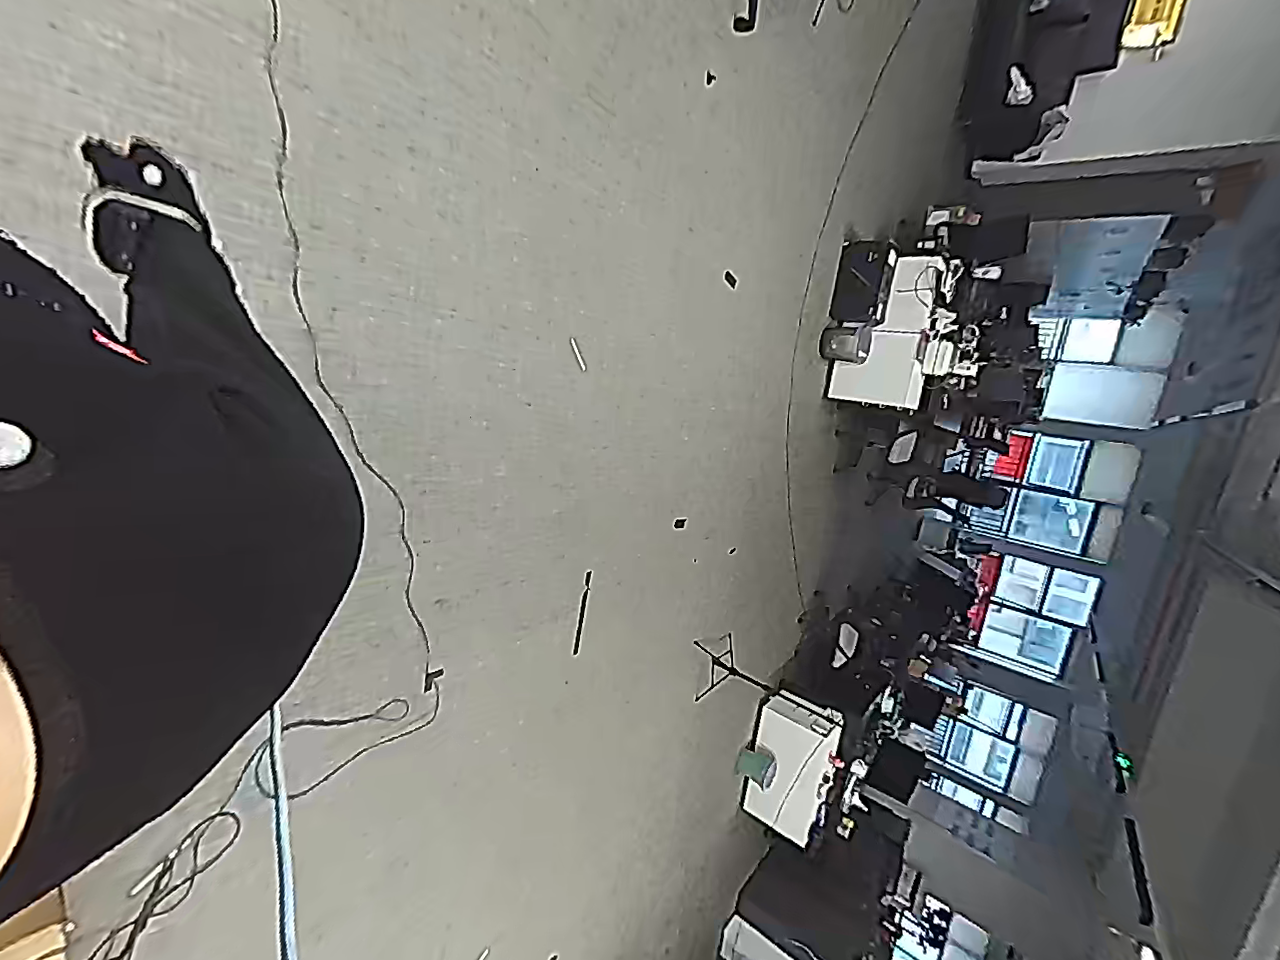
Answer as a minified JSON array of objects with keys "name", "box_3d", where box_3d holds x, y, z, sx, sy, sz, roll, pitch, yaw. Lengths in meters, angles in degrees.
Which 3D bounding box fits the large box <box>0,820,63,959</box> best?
[{"name":"large box","box_3d":[-1.296,0.896,0.920,0.408,0.320,0.320,-4,105,-53]}]
